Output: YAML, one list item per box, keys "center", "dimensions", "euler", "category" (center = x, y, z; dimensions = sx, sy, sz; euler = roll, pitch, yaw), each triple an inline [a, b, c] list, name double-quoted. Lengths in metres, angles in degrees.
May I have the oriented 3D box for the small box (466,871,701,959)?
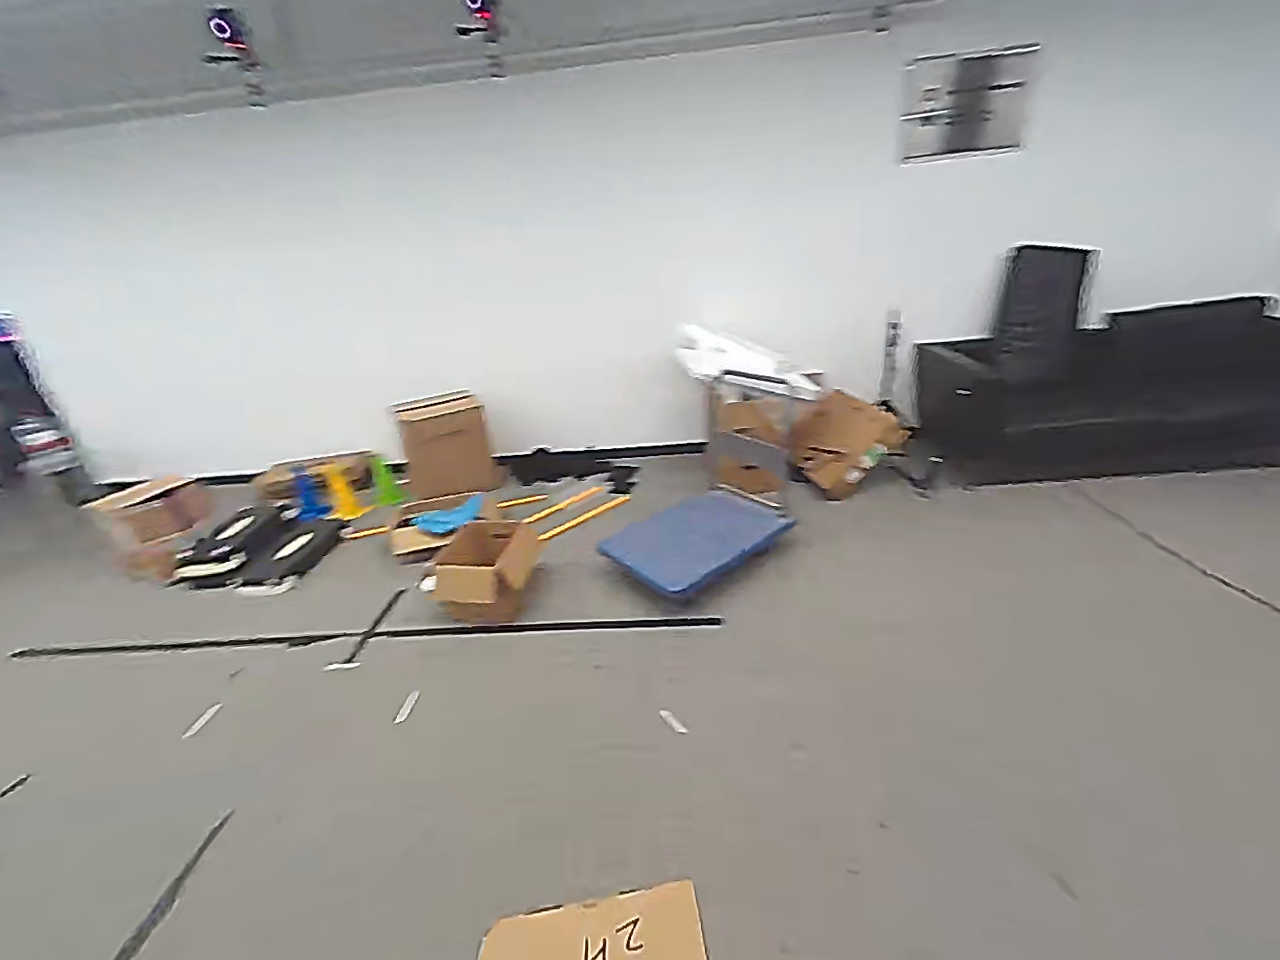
- center: [-0.024, 0.414, 0.350]
  dimensions: [0.168, 0.176, 0.179]
  euler: [-11, 12, -3]
  category: "small box"
